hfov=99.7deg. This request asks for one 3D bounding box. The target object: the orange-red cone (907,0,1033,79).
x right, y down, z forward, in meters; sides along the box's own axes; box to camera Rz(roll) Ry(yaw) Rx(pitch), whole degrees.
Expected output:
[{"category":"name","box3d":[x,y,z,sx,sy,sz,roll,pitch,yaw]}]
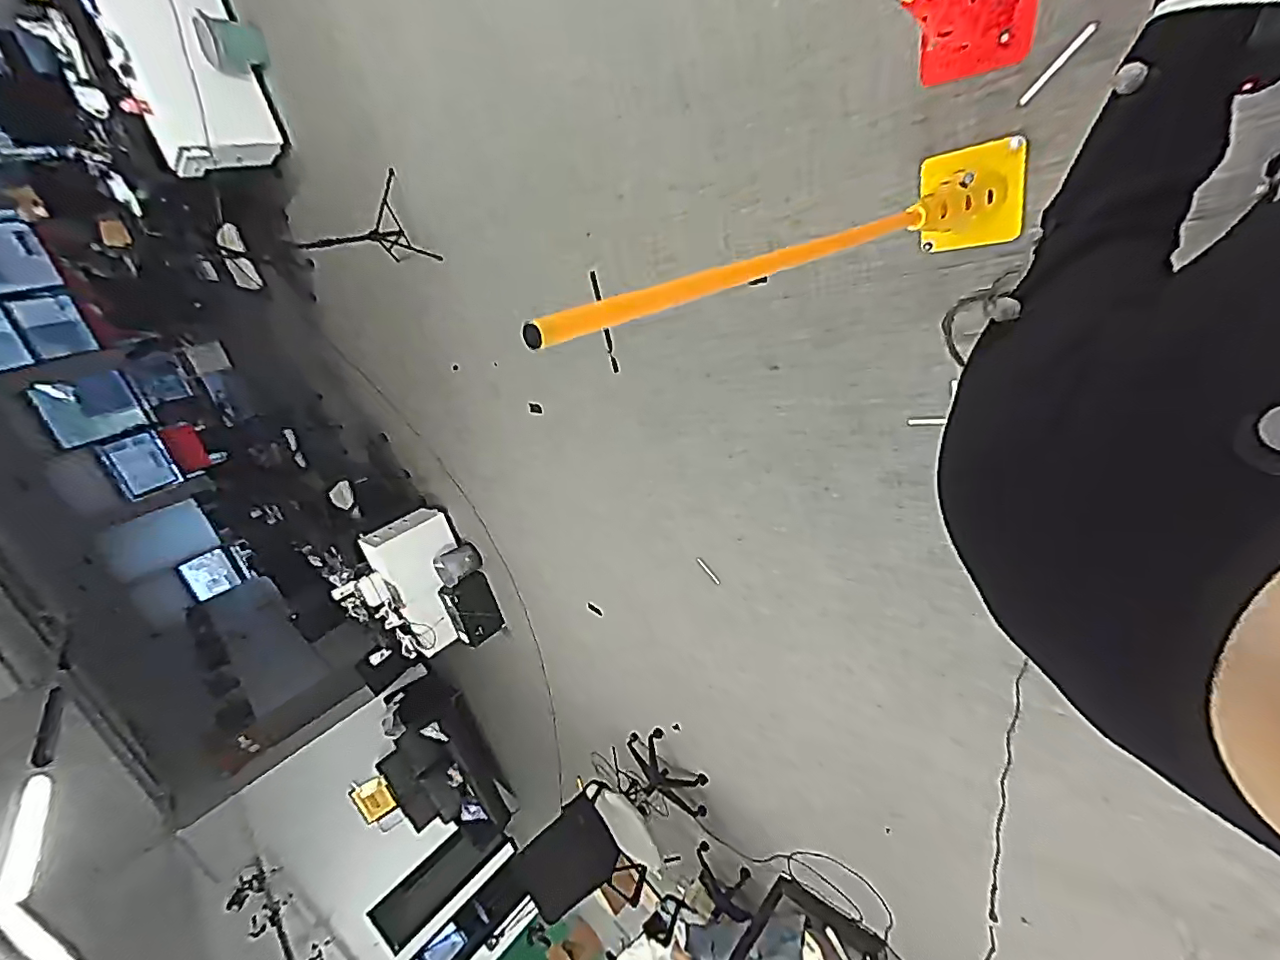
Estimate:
[{"category":"orange-red cone","box3d":[0.537,-0.846,0.943,0.198,0.360,0.199,15,124,40]}]
